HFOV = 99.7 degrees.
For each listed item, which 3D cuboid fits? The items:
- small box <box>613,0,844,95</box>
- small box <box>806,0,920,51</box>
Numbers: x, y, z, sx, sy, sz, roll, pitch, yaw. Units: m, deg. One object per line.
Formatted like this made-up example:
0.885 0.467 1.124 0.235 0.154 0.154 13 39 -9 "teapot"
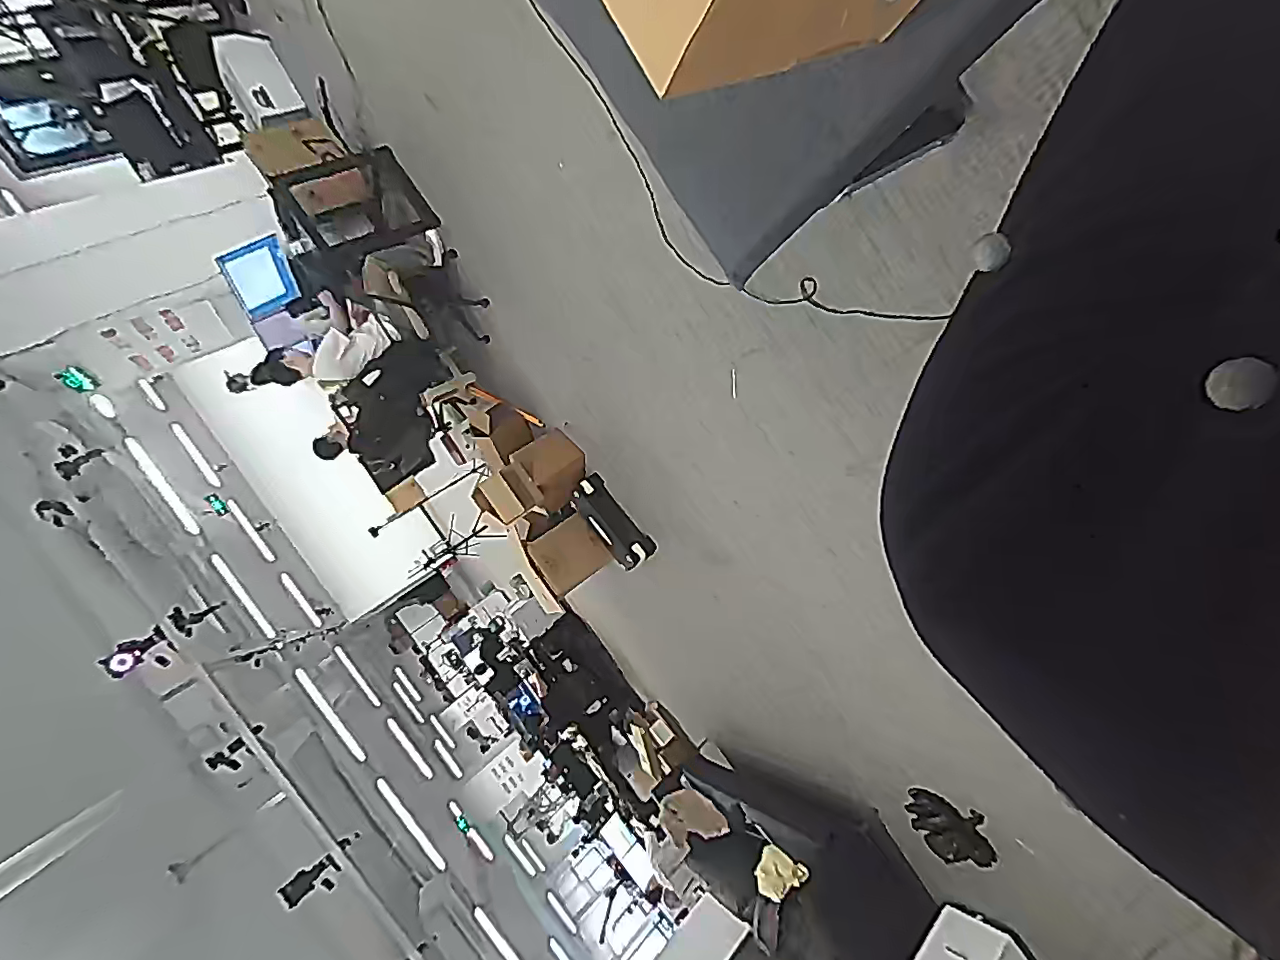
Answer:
0.078 -0.437 0.396 0.168 0.176 0.179 59 154 -3 "small box"
0.198 -0.520 0.469 0.168 0.176 0.179 58 154 -4 "small box"
